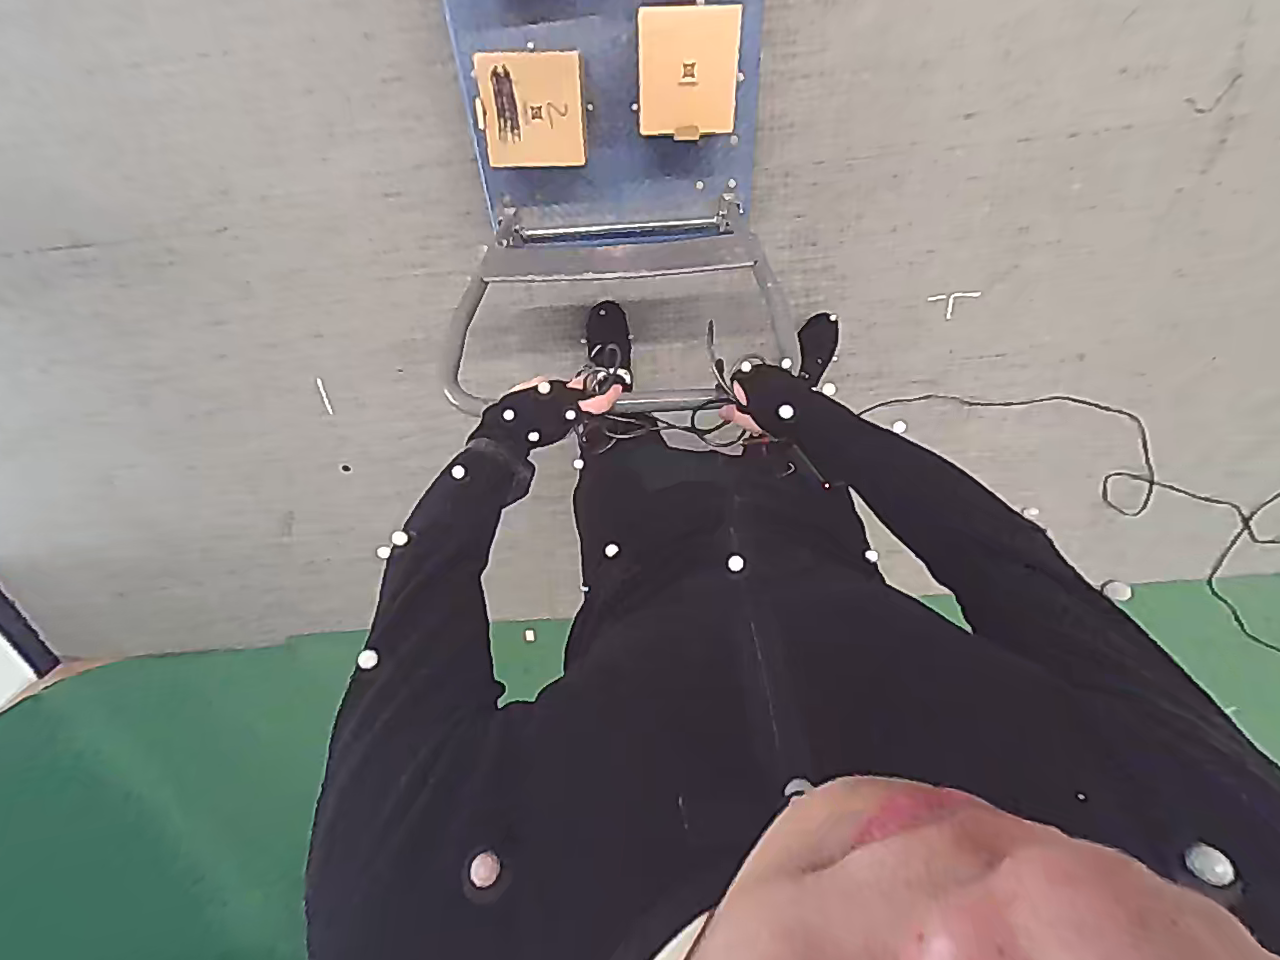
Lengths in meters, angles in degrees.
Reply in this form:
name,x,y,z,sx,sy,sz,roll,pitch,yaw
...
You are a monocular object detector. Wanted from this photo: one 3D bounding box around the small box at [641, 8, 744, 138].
name,x,y,z,sx,sy,sz,roll,pitch,yaw
small box,0.085,-0.726,0.970,0.168,0.176,0.179,0,129,1
